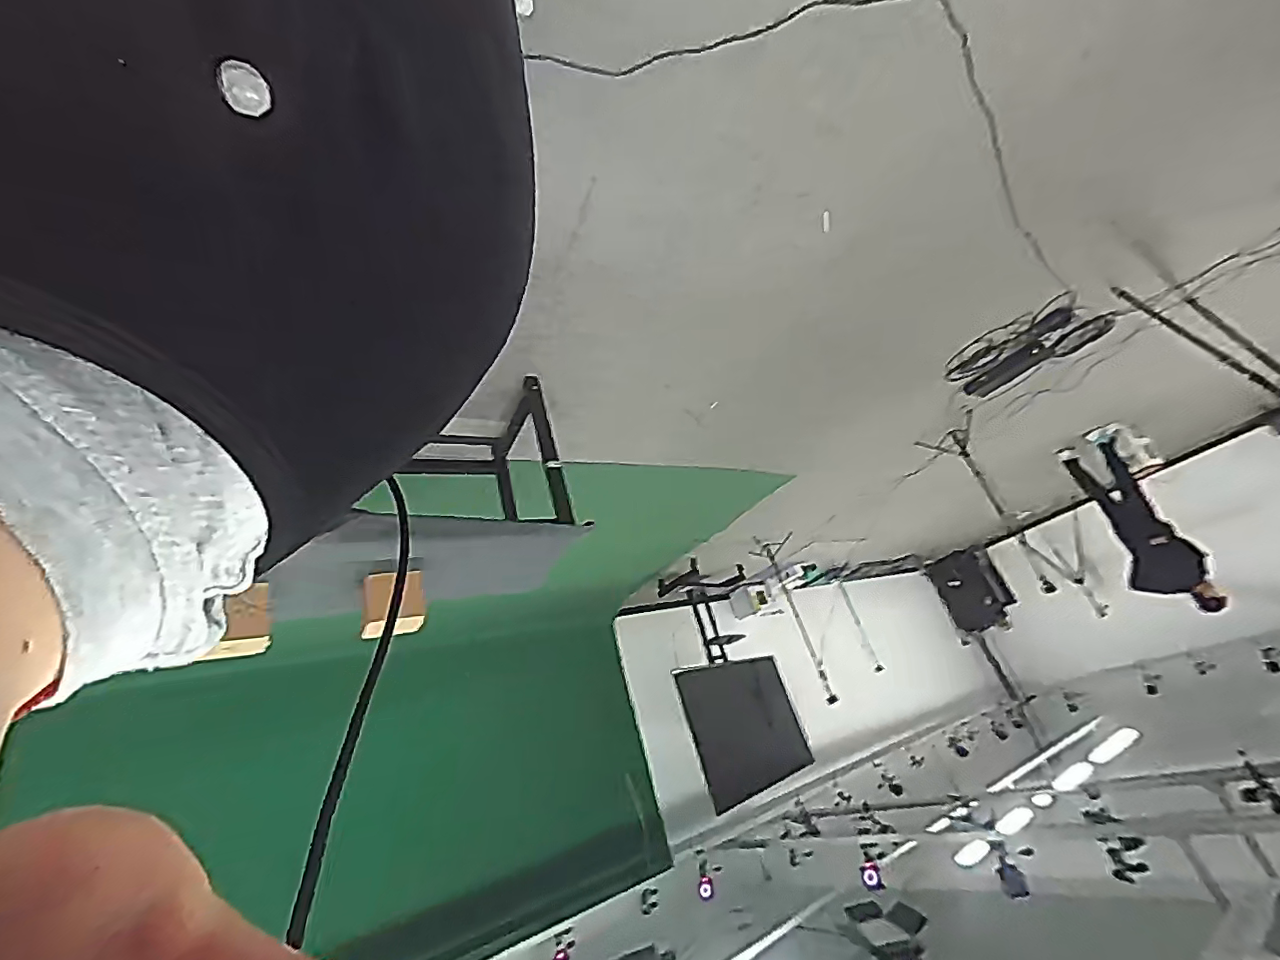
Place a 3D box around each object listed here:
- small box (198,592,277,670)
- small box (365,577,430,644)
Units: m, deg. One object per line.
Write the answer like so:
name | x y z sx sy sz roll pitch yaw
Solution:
small box | -1.184 0.438 1.588 0.179 0.176 0.168 3 147 -39
small box | -0.828 0.438 1.839 0.179 0.176 0.168 1 147 -32
